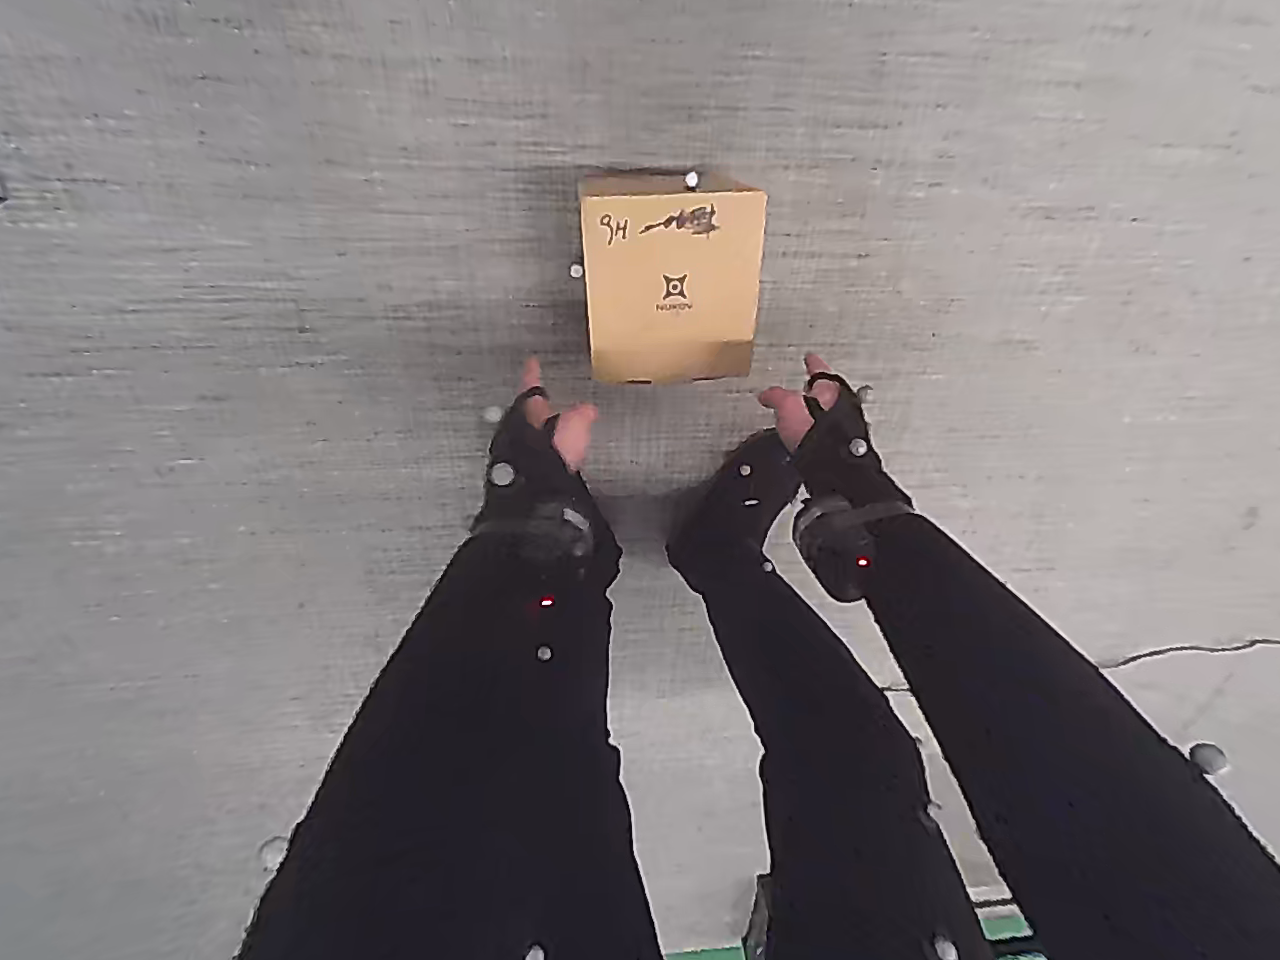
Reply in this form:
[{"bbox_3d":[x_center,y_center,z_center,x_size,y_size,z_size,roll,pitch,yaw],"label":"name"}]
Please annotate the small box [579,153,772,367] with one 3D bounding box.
[{"bbox_3d":[0.024,-0.233,0.565,0.168,0.176,0.179,-3,125,-5],"label":"small box"}]
